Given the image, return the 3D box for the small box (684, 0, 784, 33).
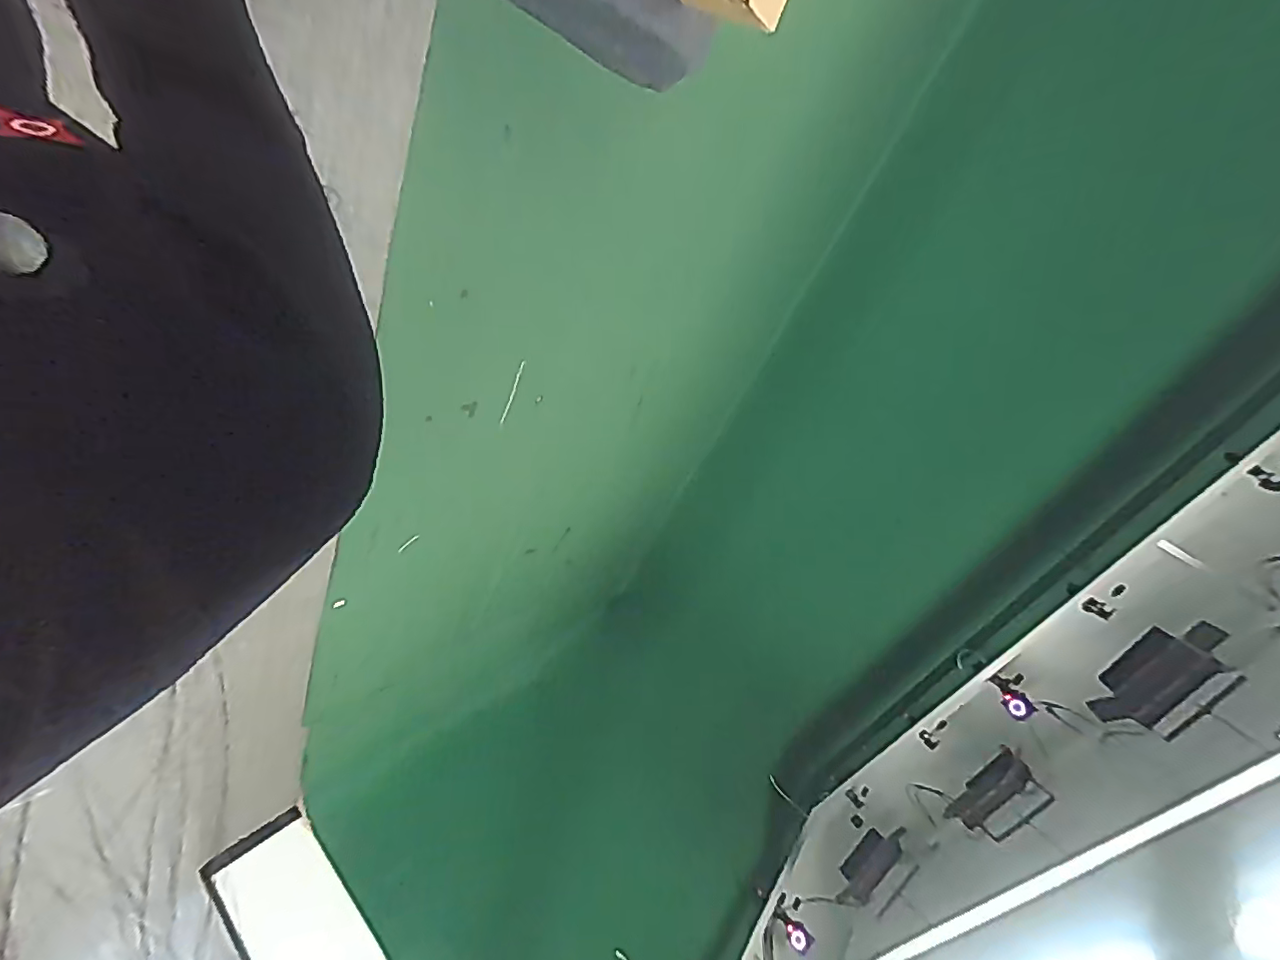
[{"bbox_3d":[0.111,-0.733,0.694,0.168,0.176,0.179,-20,142,-52],"label":"small box"}]
